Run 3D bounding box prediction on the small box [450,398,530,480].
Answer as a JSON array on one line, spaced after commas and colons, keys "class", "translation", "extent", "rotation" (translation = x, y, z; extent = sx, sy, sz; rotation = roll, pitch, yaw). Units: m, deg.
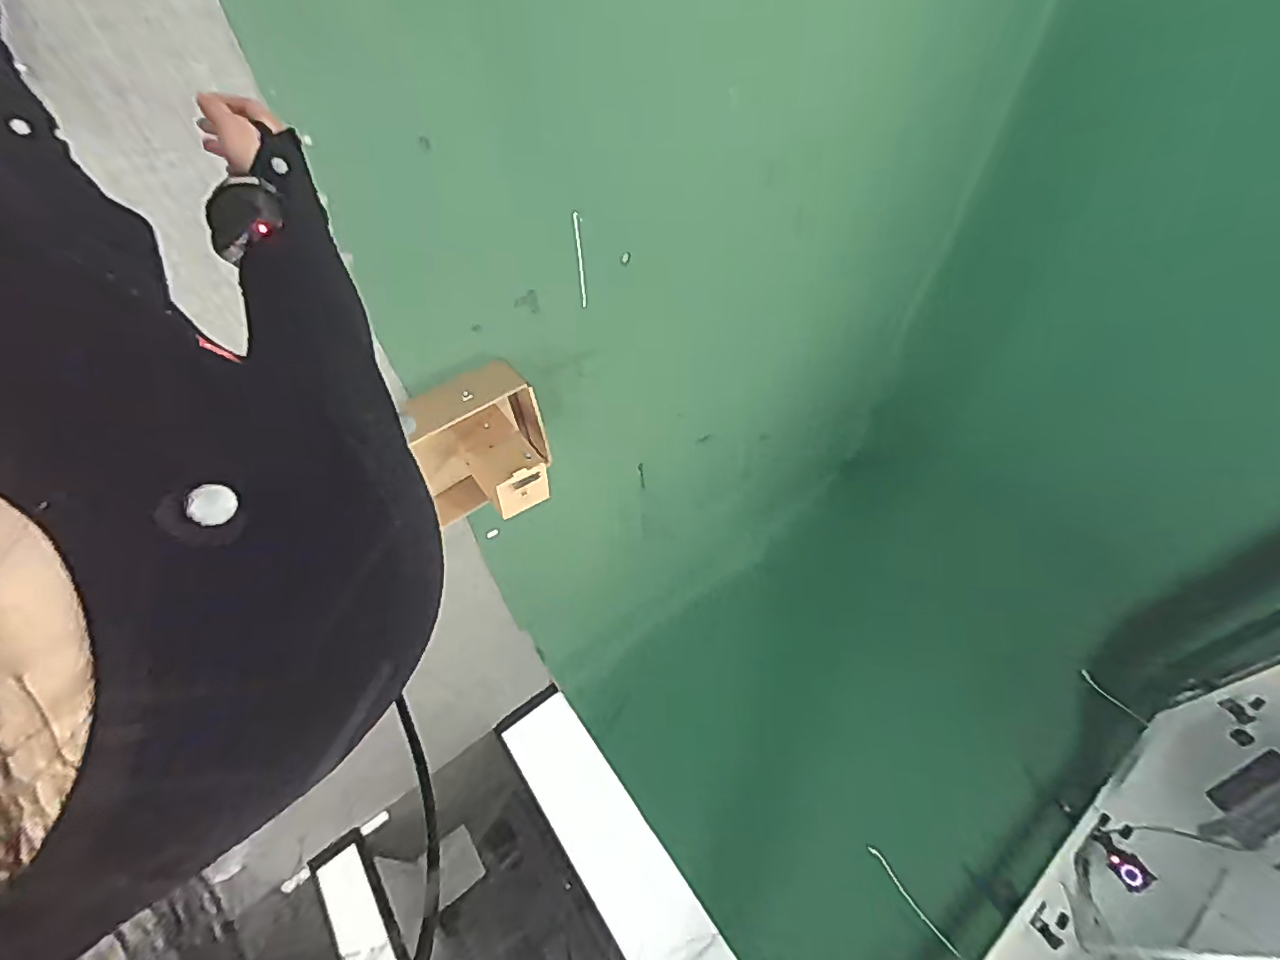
[{"class": "small box", "translation": [-0.490, -0.139, 1.769], "extent": [0.179, 0.176, 0.168], "rotation": [-31, 148, -20]}]
